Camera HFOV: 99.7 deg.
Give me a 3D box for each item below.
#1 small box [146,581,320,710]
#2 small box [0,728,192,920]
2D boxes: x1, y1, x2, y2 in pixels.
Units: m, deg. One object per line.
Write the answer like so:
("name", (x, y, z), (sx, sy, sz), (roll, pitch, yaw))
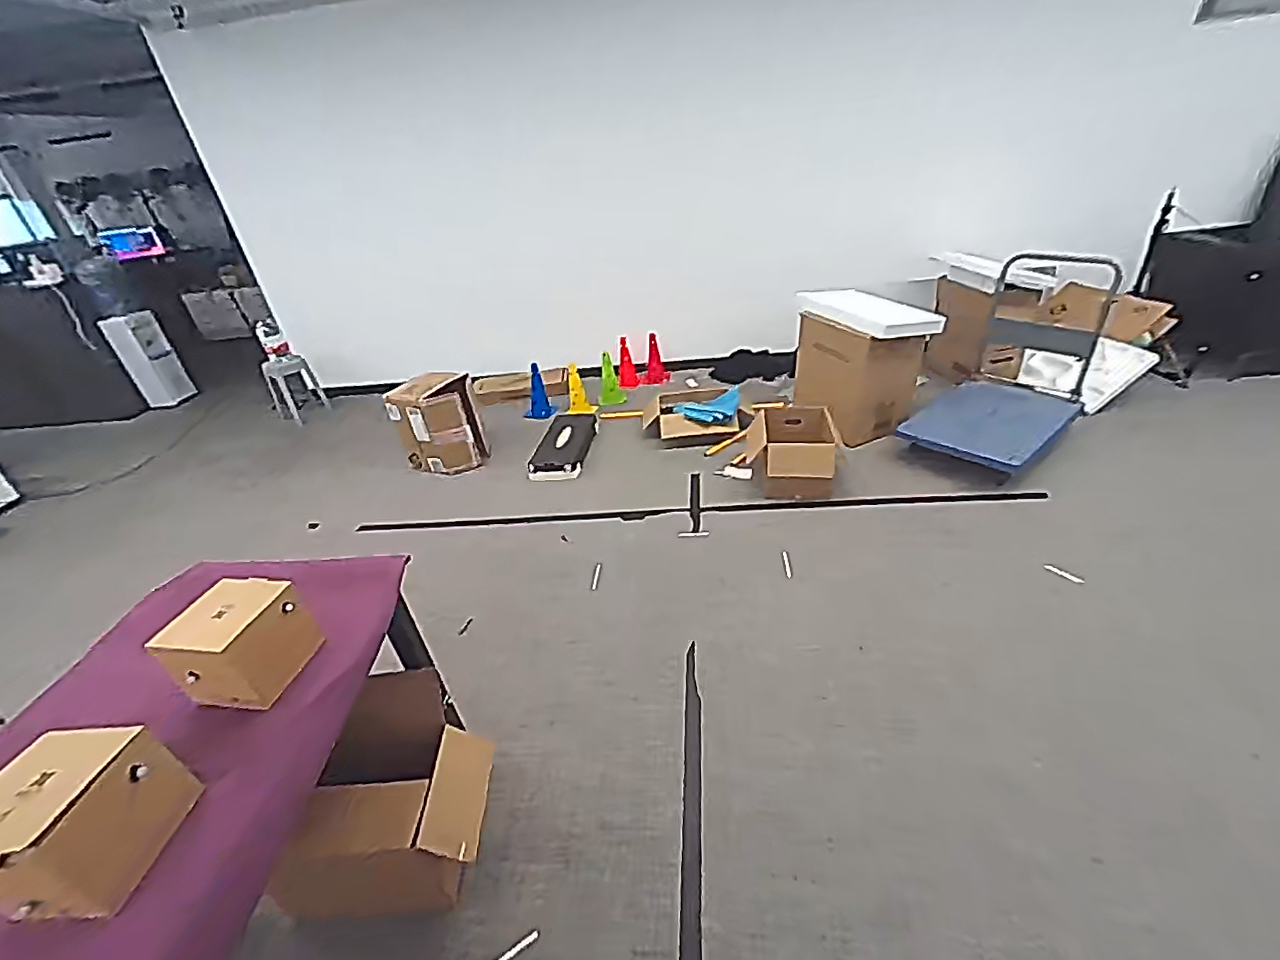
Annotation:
("small box", (-0.759, 0.315, 1.034), (0.168, 0.176, 0.179), (-1, 32, 11))
("small box", (-0.794, 0.484, 0.766), (0.168, 0.176, 0.179), (-6, 31, 6))
